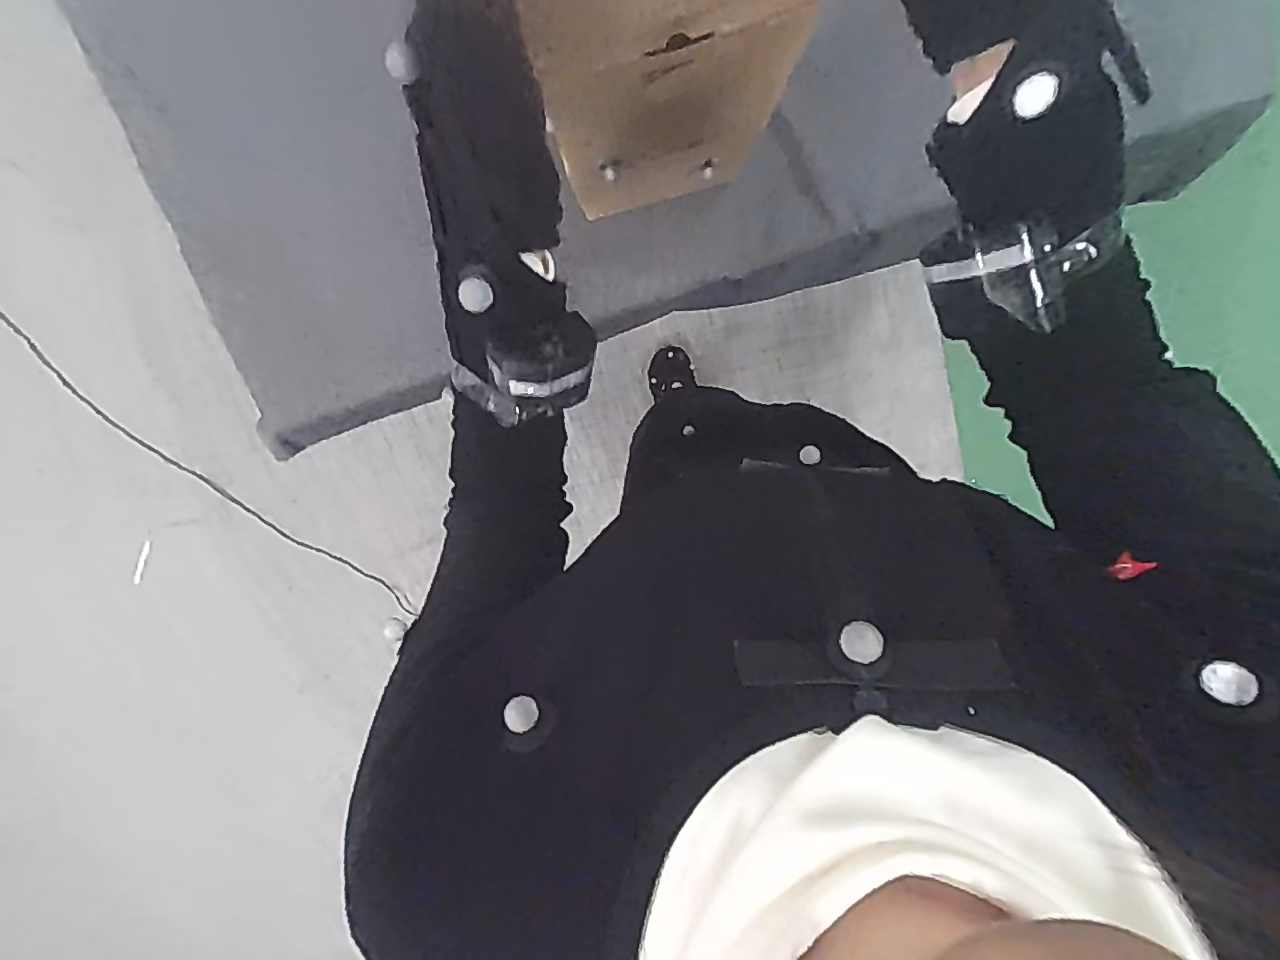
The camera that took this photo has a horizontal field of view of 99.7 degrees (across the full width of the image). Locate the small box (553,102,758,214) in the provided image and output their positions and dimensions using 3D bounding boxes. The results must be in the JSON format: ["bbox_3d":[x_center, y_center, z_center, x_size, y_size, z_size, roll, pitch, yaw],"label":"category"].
[{"bbox_3d":[0.001,-0.386,0.529,0.179,0.176,0.168,-14,101,6],"label":"small box"}]

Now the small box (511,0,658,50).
[{"bbox_3d":[-0.006,-0.316,0.200,0.179,0.176,0.168,-21,102,4],"label":"small box"}]

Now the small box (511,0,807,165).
[{"bbox_3d":[-0.003,-0.345,0.370,0.168,0.176,0.179,-17,102,5],"label":"small box"}]
